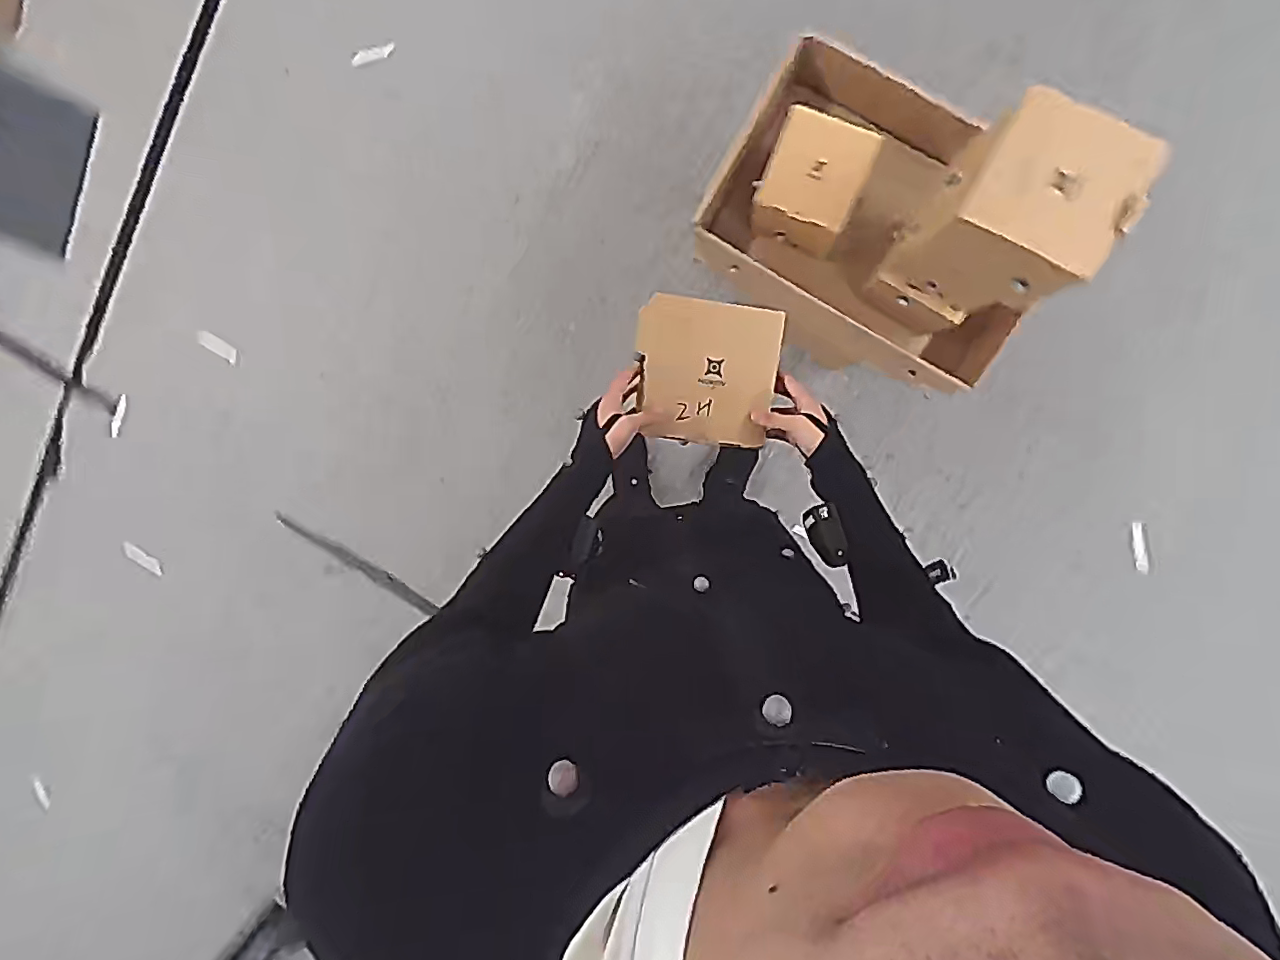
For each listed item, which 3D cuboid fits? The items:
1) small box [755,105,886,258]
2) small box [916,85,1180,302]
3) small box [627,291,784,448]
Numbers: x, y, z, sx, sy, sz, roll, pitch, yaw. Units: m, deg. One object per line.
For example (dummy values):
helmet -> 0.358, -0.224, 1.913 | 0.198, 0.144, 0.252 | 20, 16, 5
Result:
small box -> 0.330, -0.556, 1.032 | 0.168, 0.176, 0.179 | 24, 99, 4
small box -> 0.505, -0.349, 0.702 | 0.179, 0.176, 0.168 | 29, 99, 3
small box -> 0.078, -0.147, 0.746 | 0.168, 0.176, 0.179 | 6, 100, -8
